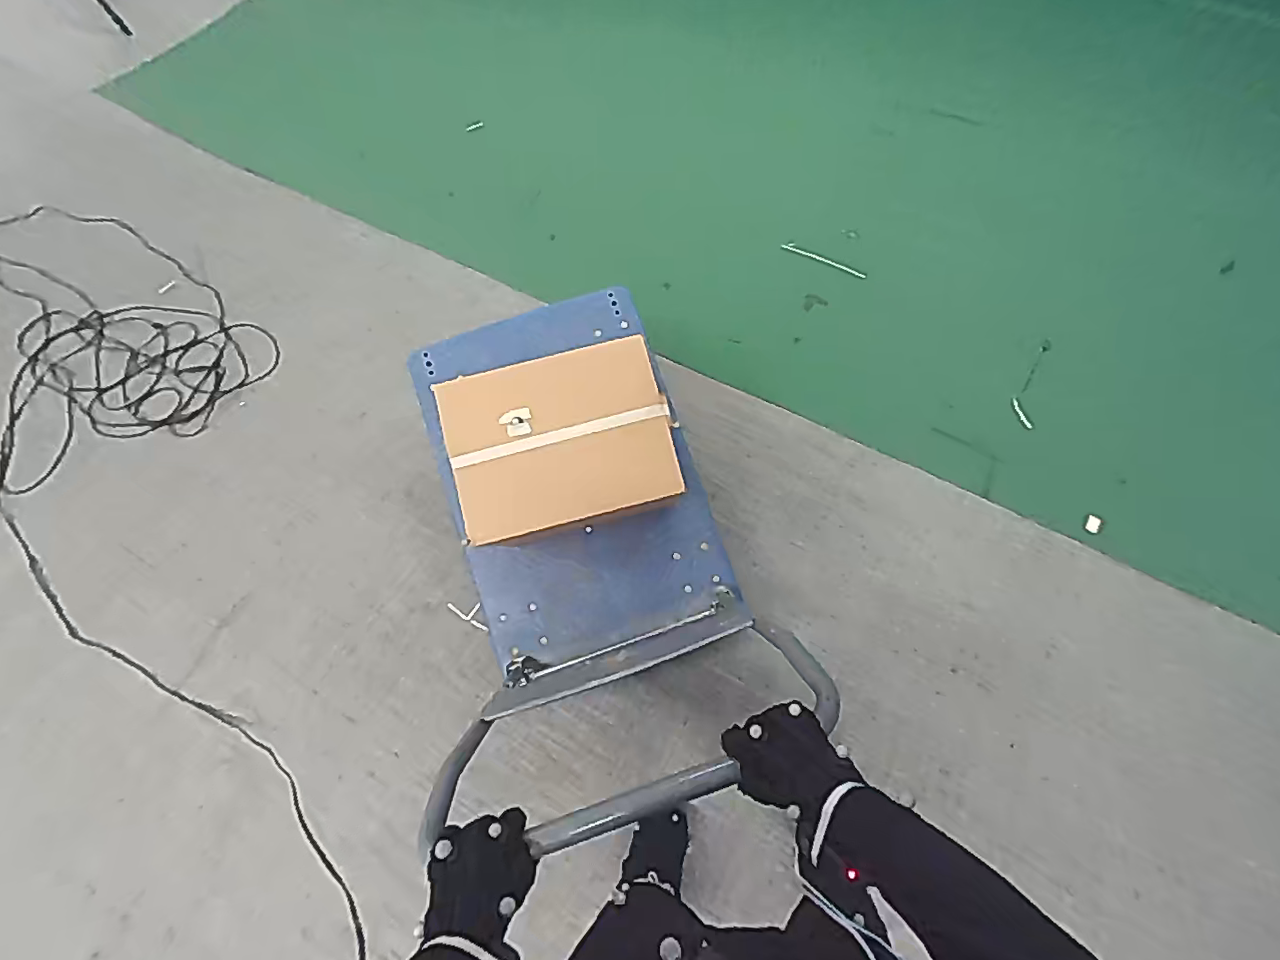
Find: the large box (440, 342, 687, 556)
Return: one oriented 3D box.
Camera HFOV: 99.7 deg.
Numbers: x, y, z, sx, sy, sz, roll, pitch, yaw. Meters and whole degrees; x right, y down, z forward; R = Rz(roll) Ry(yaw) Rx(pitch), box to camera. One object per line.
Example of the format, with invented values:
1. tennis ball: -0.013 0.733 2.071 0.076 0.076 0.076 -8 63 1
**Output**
1. large box: -0.142 -0.046 1.143 0.408 0.320 0.320 -16 83 -1
